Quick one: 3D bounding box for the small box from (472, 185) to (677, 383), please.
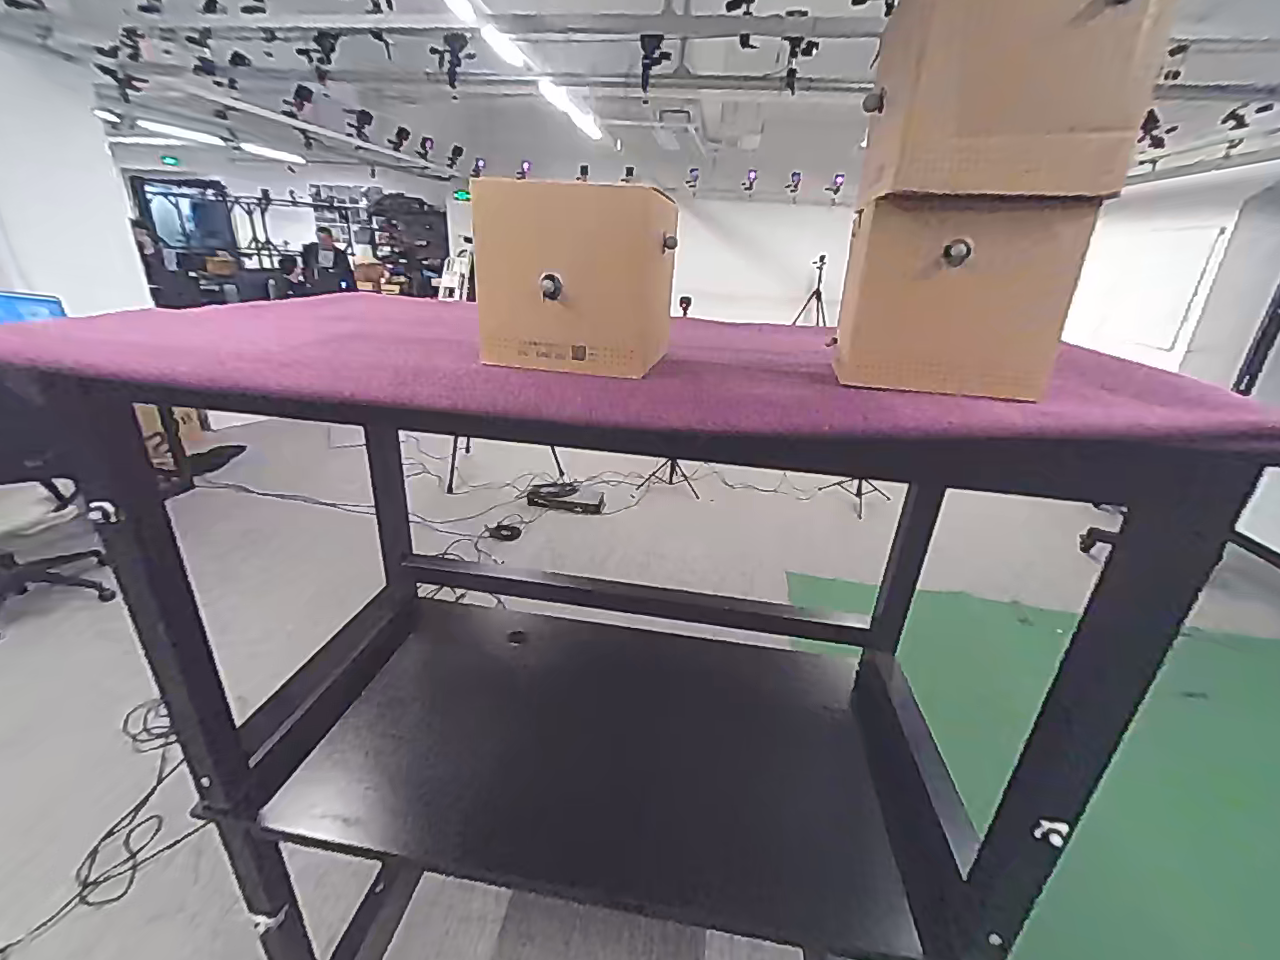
[{"bbox_3d":[-0.058,-0.206,0.574,0.168,0.176,0.179,8,23,9],"label":"small box"}]

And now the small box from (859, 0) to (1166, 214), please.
[{"bbox_3d":[0.306,-0.324,0.483,0.179,0.176,0.168,6,21,9],"label":"small box"}]

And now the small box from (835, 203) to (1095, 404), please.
[{"bbox_3d":[0.304,-0.178,0.555,0.179,0.176,0.168,8,22,13],"label":"small box"}]
